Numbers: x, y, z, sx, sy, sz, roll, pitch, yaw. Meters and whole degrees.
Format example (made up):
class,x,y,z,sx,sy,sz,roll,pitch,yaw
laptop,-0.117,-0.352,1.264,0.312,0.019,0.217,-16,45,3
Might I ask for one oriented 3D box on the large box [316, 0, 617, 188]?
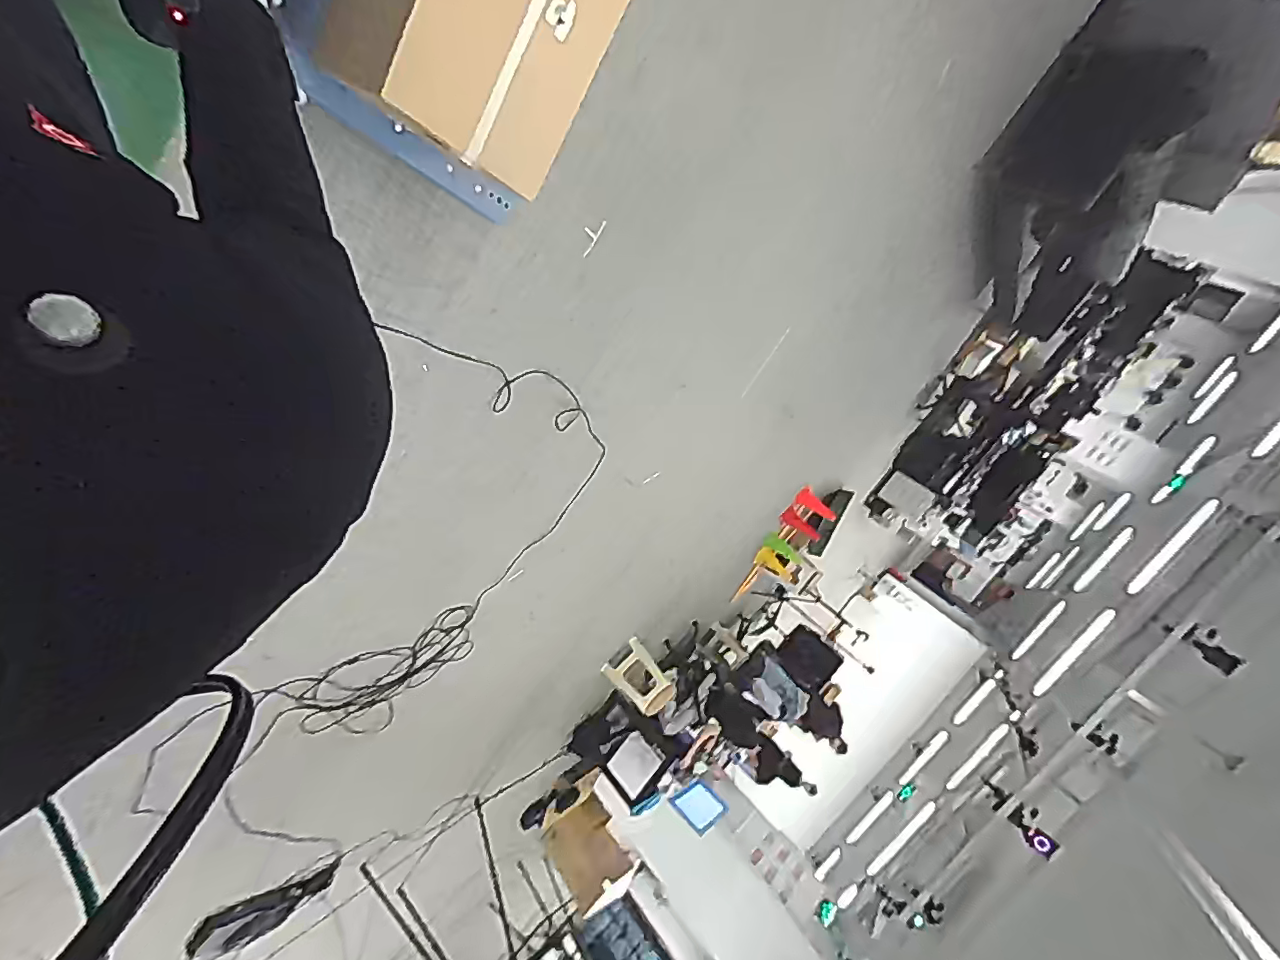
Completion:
class,x,y,z,sx,sy,sz,roll,pitch,yaw
large box,-0.296,-0.812,0.939,0.320,0.320,0.408,8,117,-56
